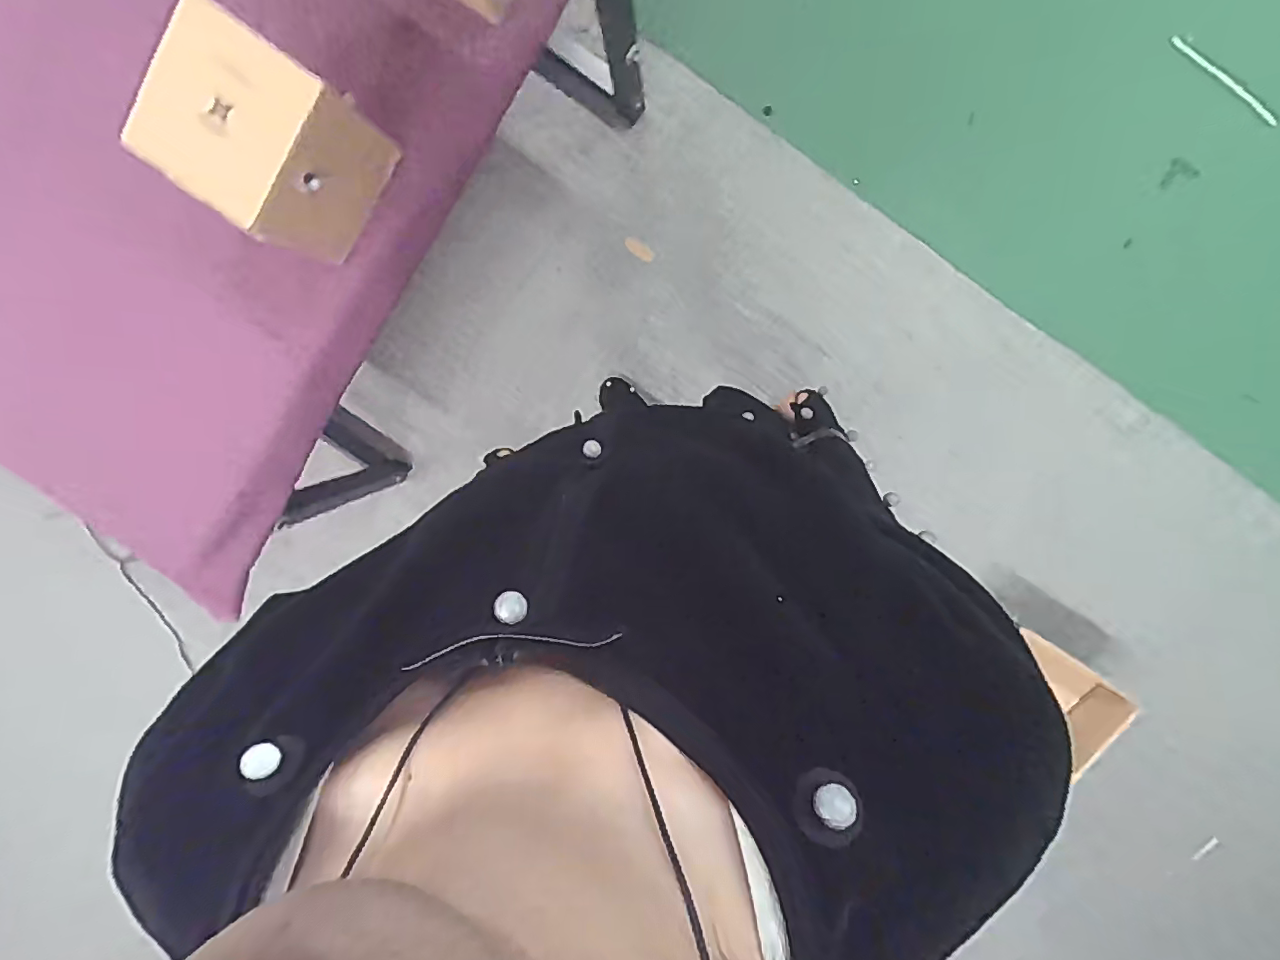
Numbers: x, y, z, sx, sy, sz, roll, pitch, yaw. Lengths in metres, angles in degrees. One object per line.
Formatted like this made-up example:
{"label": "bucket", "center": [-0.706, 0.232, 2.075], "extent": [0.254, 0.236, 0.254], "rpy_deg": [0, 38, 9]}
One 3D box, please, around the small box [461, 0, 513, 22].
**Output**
{"label": "small box", "center": [-0.203, -0.662, 0.581], "extent": [0.168, 0.176, 0.179], "rpy_deg": [33, 101, -3]}

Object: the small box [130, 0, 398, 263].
{"label": "small box", "center": [-0.429, -0.391, 0.647], "extent": [0.168, 0.176, 0.179], "rpy_deg": [36, 100, -2]}
